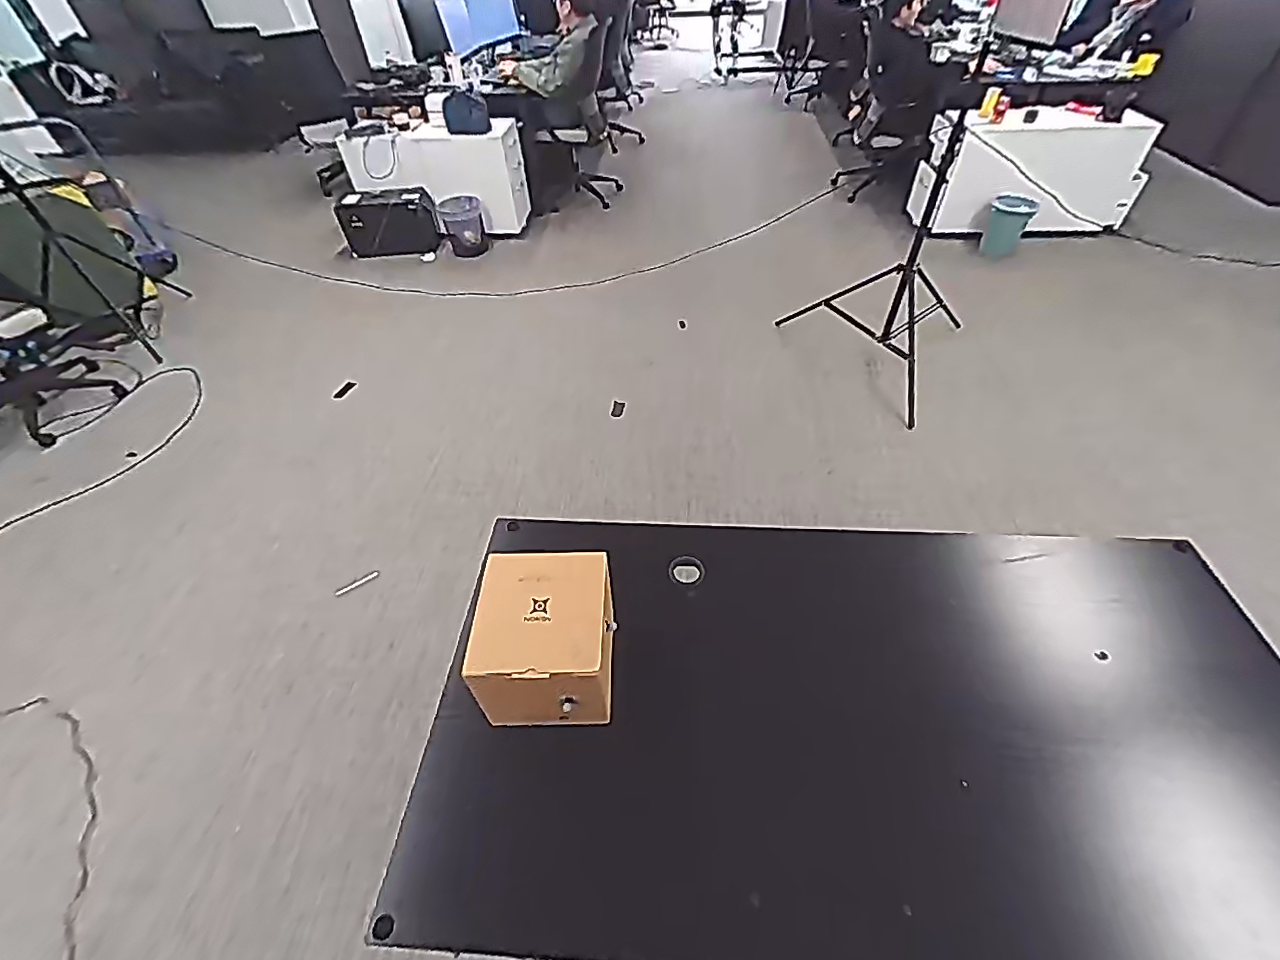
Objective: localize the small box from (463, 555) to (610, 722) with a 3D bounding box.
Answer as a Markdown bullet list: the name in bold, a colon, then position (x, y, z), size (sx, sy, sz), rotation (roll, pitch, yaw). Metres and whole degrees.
- **small box**: position (-0.129, 0.225, 0.754), size (0.168, 0.176, 0.179), rotation (-1, 46, 0)
